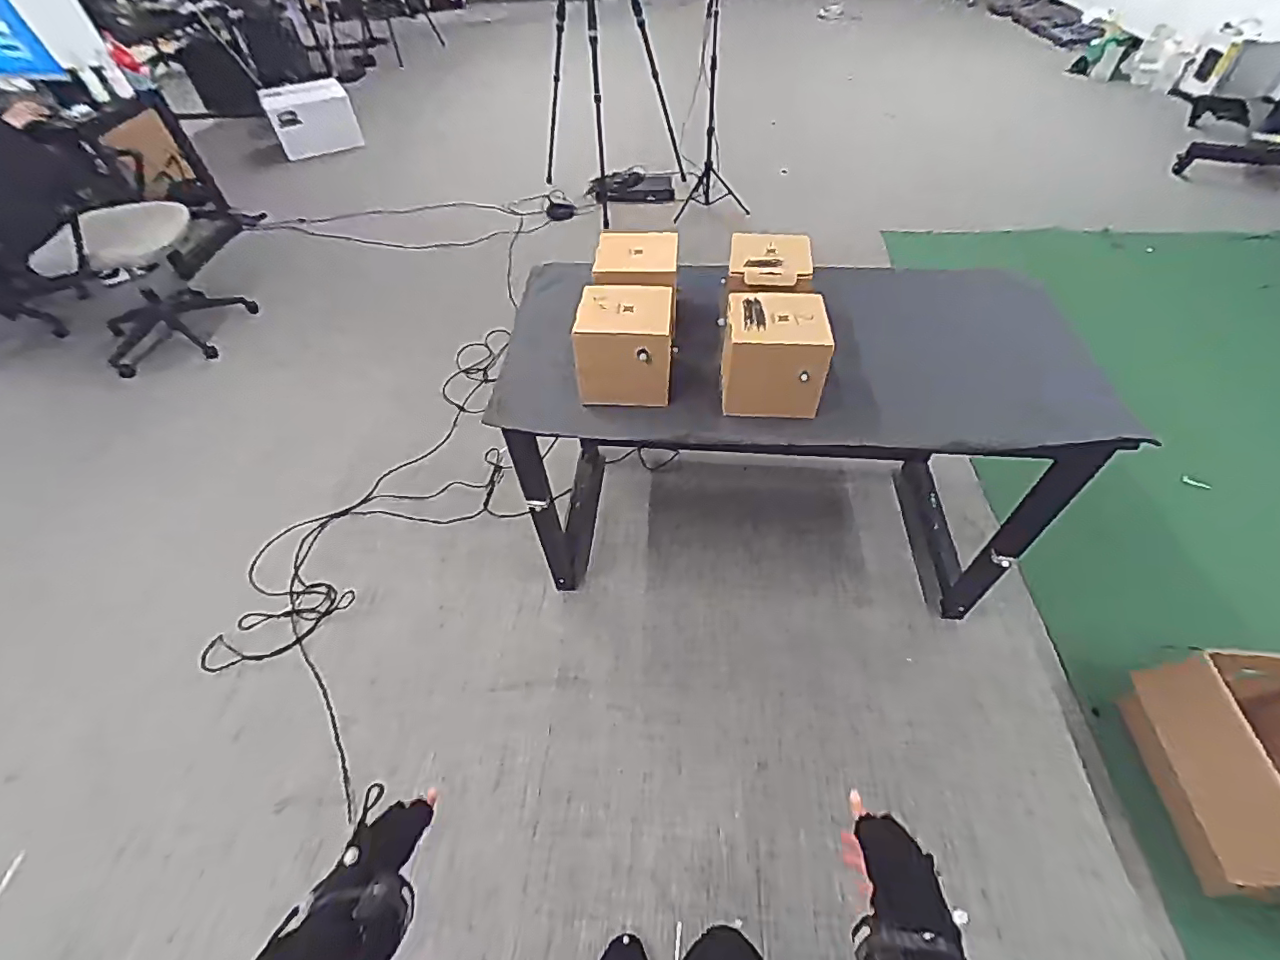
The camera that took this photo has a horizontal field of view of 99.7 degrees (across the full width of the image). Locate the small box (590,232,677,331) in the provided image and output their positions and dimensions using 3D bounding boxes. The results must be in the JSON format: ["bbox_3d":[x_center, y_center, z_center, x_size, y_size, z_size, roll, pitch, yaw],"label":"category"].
[{"bbox_3d":[-0.008,-0.432,1.209,0.179,0.176,0.168,1,51,5],"label":"small box"}]

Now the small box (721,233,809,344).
[{"bbox_3d":[0.268,-0.416,1.178,0.168,0.176,0.179,5,50,7],"label":"small box"}]

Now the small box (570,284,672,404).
[{"bbox_3d":[-0.029,-0.264,1.063,0.179,0.176,0.168,2,49,4],"label":"small box"}]
